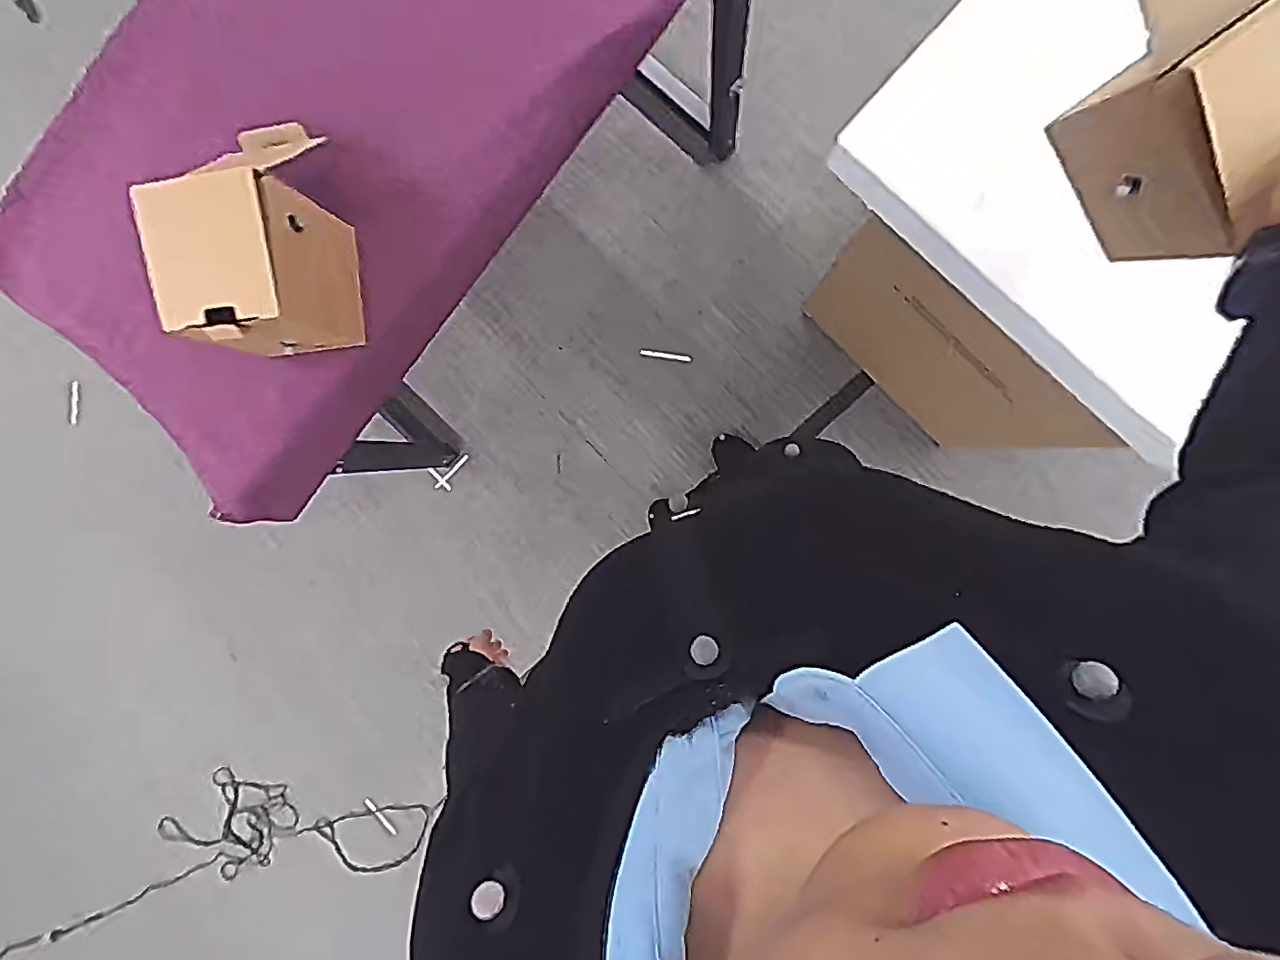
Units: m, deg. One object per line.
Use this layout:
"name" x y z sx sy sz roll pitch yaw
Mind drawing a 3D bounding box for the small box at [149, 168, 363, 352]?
"small box" -0.509 -0.285 0.739 0.168 0.176 0.179 -5 92 8
